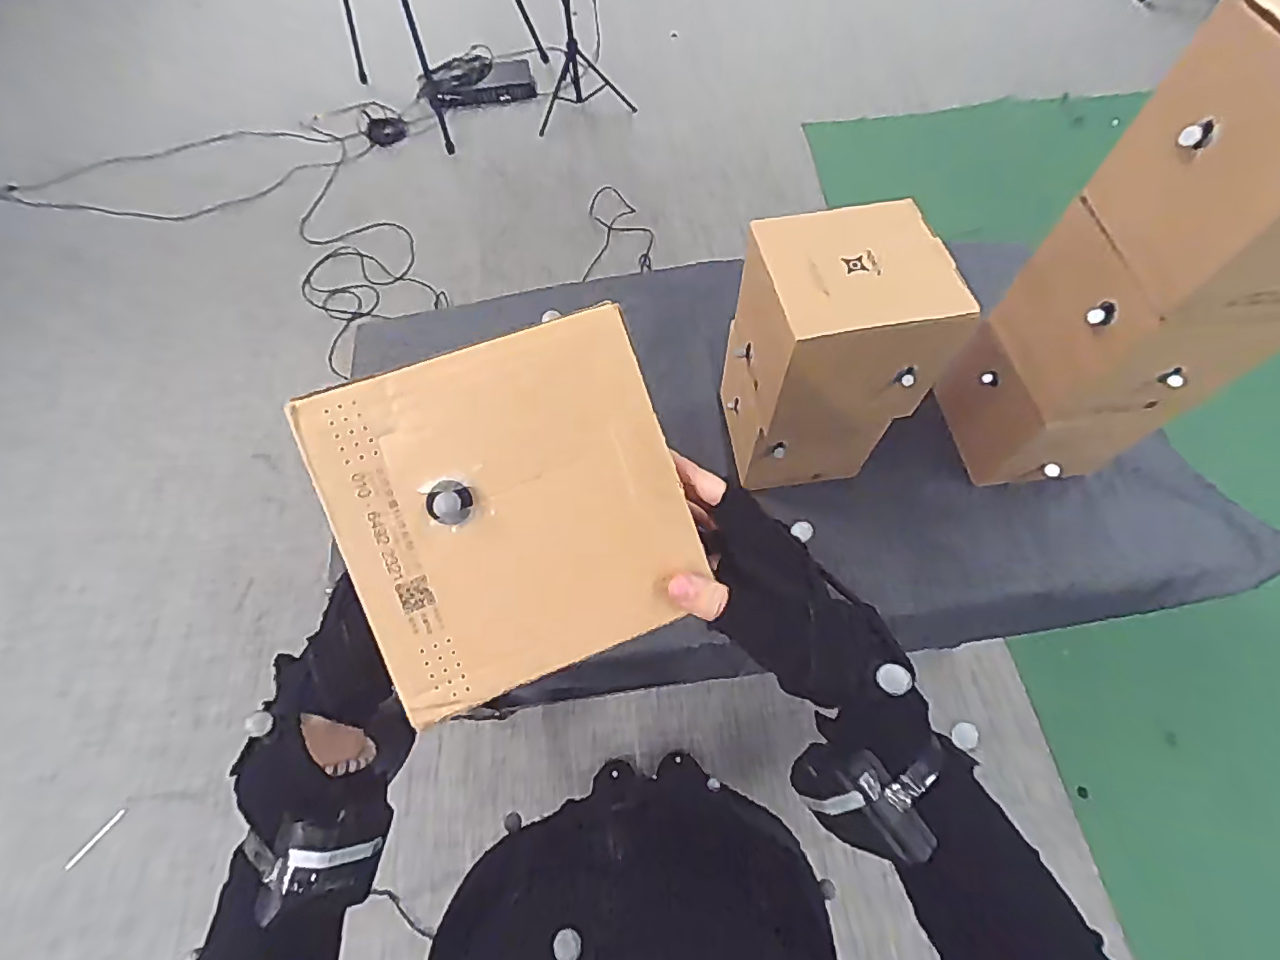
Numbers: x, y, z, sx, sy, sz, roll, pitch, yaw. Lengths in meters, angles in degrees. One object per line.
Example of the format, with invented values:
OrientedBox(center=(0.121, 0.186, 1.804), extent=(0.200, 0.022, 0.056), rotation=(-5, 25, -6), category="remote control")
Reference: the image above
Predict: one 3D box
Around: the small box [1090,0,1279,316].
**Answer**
OrientedBox(center=(0.529, -0.260, 0.440), extent=(0.168, 0.176, 0.179), rotation=(-4, 63, 2), category="small box")

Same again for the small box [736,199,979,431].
OrientedBox(center=(0.217, -0.173, 0.596), extent=(0.179, 0.176, 0.168), rotation=(-9, 62, -2), category="small box")

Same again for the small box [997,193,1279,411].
OrientedBox(center=(0.538, -0.187, 0.588), extent=(0.168, 0.176, 0.179), rotation=(-5, 63, 0), category="small box")
